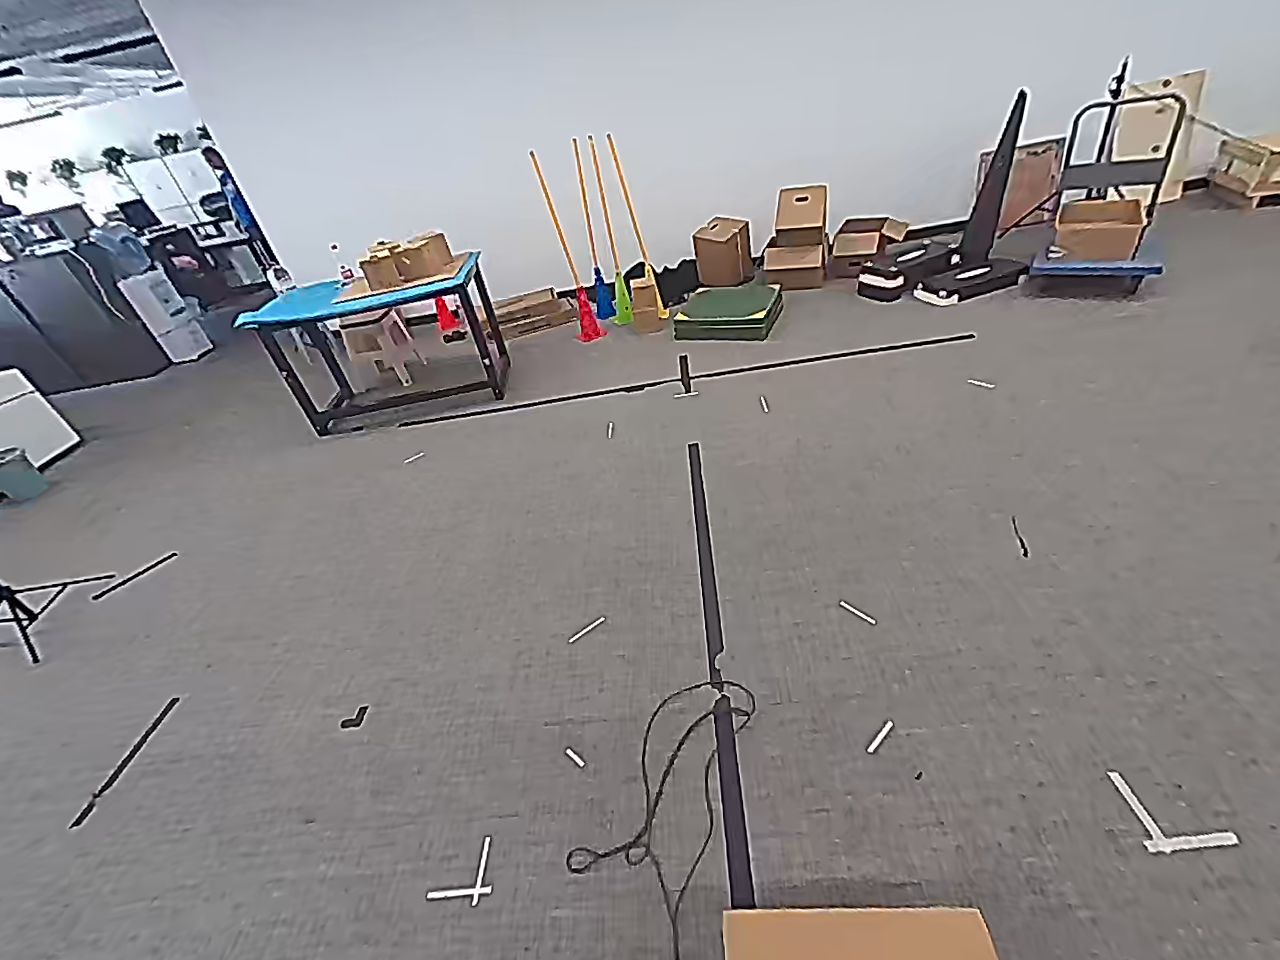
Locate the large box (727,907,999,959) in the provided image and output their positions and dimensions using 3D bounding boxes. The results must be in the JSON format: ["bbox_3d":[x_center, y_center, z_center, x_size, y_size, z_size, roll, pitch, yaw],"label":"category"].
[{"bbox_3d":[0.360,0.908,0.839,0.408,0.320,0.320,-7,36,8],"label":"large box"}]
